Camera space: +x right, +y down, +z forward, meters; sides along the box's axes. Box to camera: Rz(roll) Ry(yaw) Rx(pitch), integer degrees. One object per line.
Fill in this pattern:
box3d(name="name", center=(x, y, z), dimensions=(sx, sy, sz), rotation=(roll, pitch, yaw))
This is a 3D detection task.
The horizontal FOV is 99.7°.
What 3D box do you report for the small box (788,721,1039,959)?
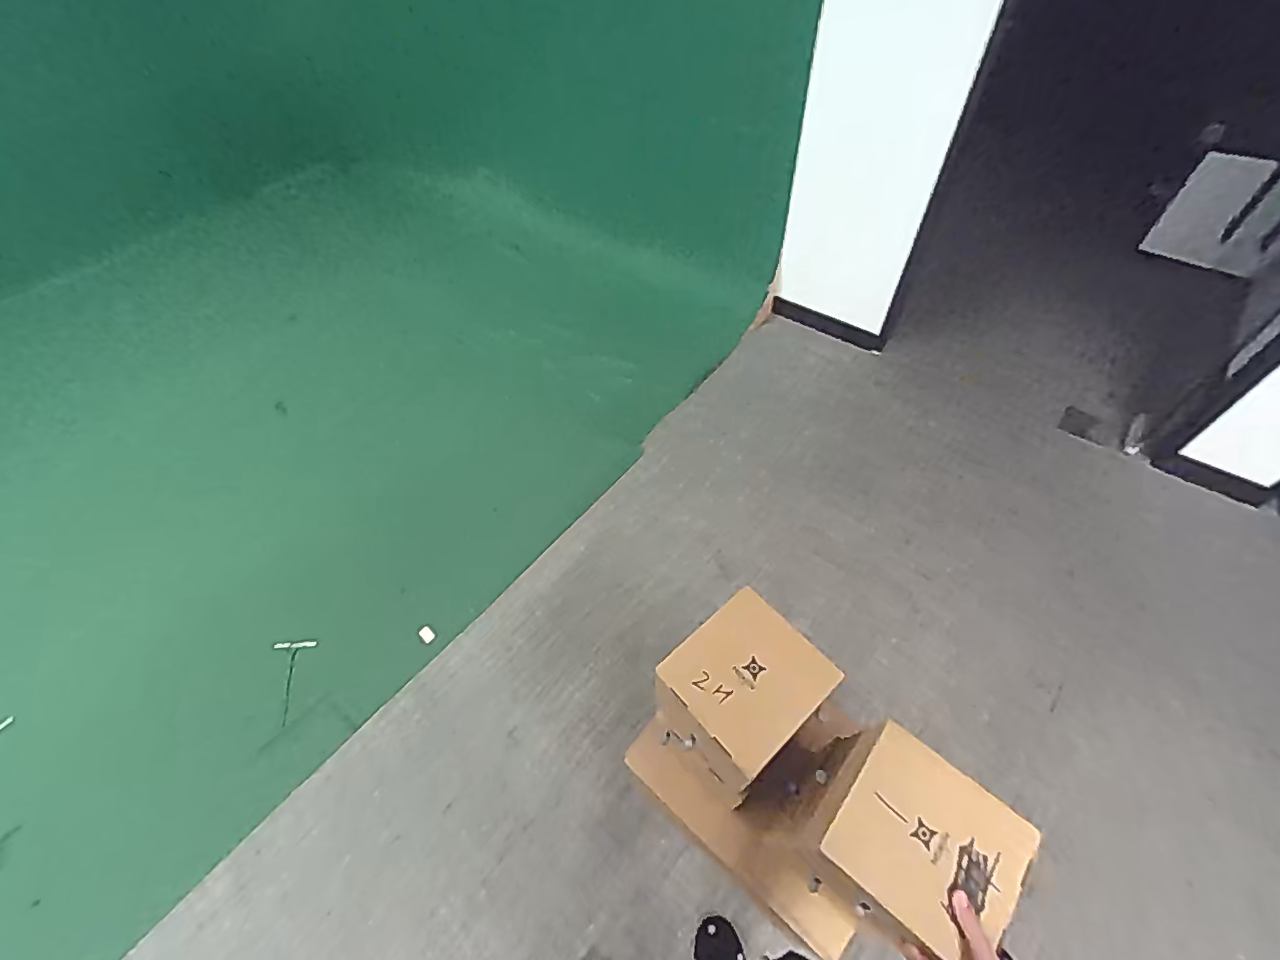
box3d(name="small box", center=(0.301, 0.416, 0.629), dimensions=(0.179, 0.176, 0.168), rotation=(35, 64, 21))
